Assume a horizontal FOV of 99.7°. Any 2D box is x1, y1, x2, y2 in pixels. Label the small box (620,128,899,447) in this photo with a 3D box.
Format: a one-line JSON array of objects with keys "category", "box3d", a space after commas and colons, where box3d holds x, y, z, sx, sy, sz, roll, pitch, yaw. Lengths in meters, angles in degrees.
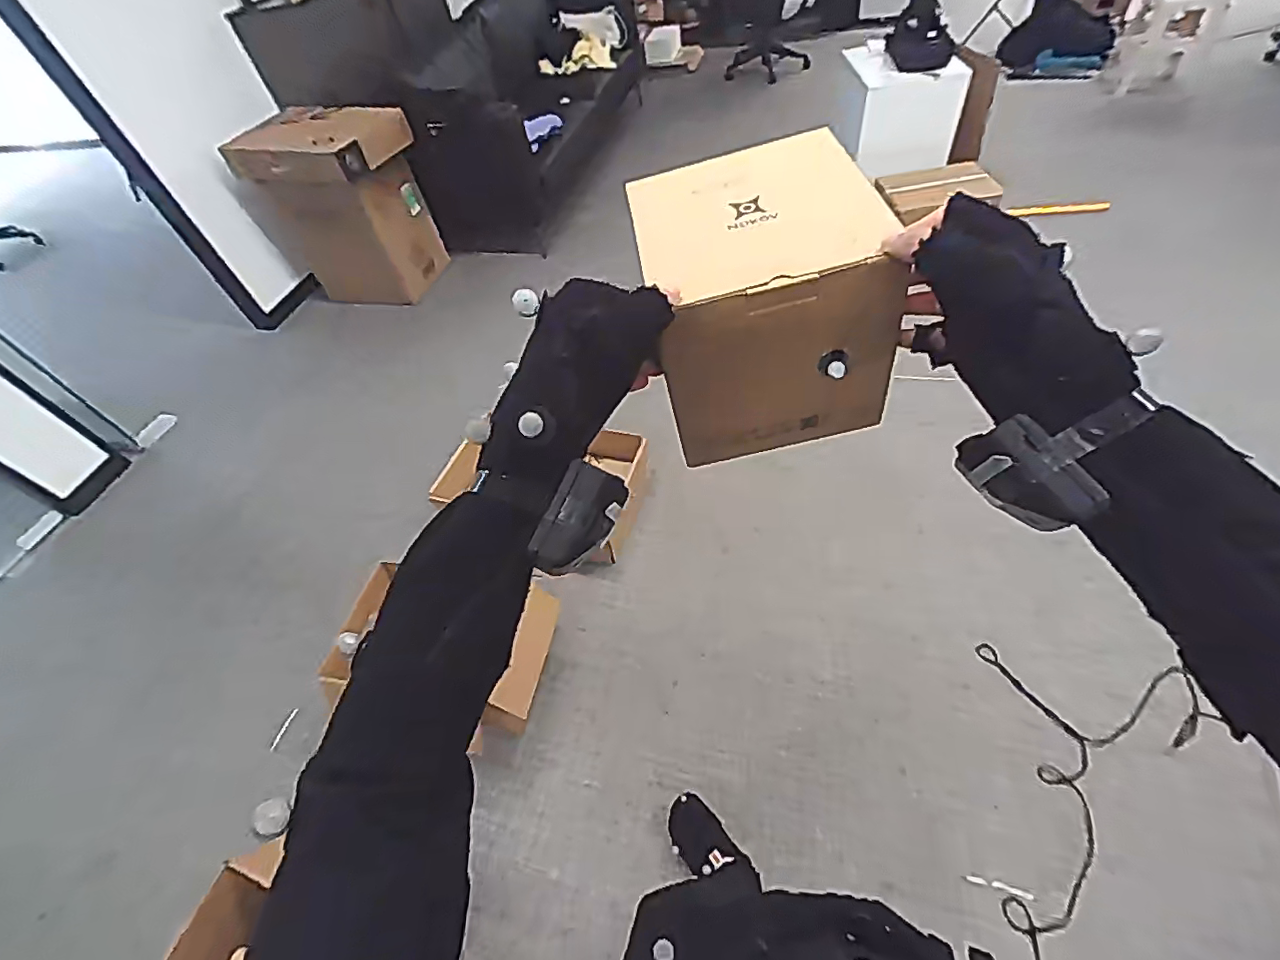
[{"category": "small box", "box3d": [0.089, -0.145, 0.448, 0.168, 0.176, 0.179, -13, 54, 6]}]
